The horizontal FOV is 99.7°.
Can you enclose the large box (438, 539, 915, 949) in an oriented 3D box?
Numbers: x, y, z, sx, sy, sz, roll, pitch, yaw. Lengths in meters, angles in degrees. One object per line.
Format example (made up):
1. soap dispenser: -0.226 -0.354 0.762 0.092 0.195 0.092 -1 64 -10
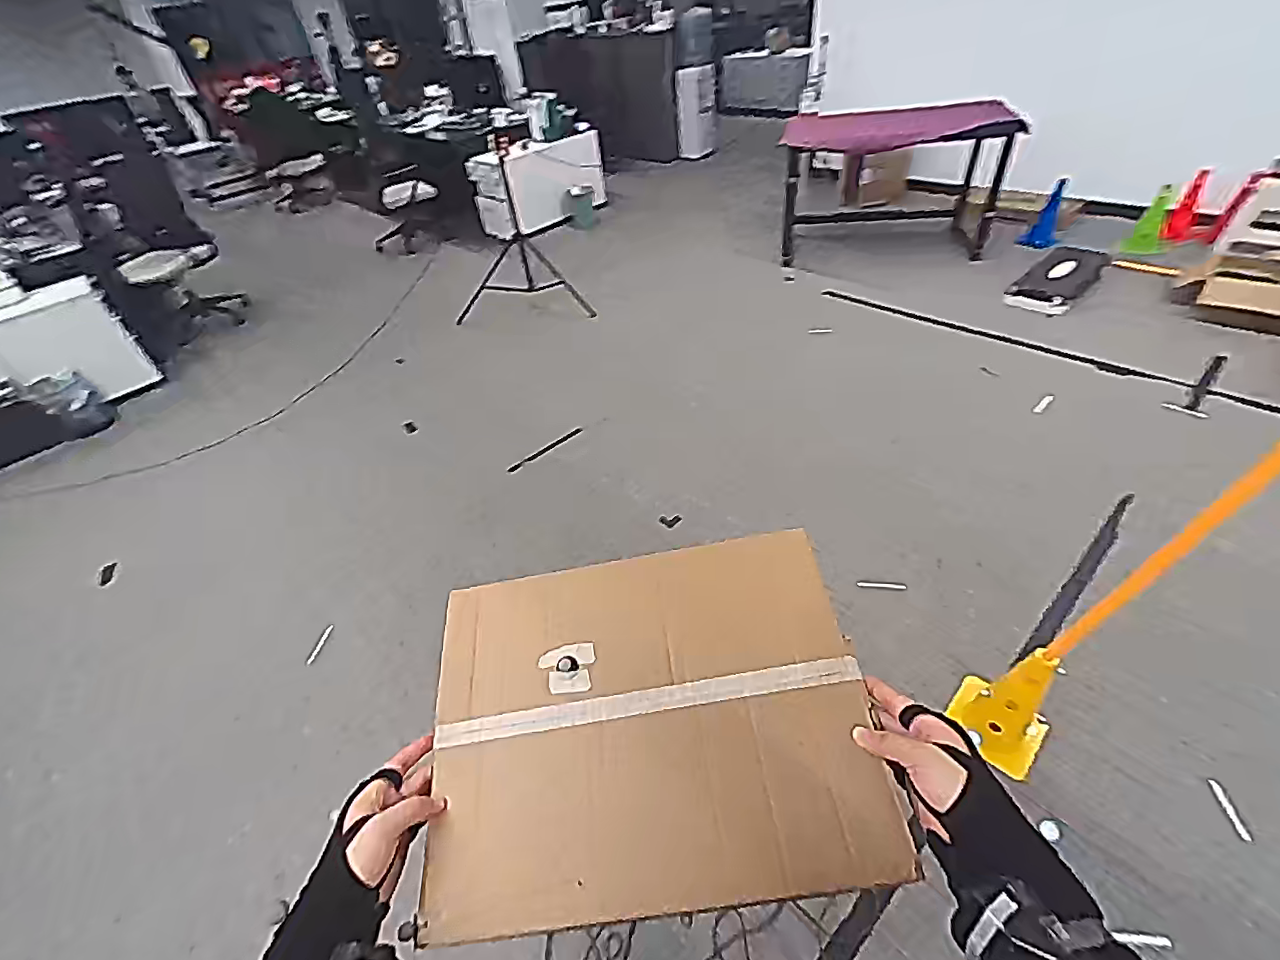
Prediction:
1. large box: 0.034 0.311 0.642 0.408 0.320 0.320 -12 52 4
